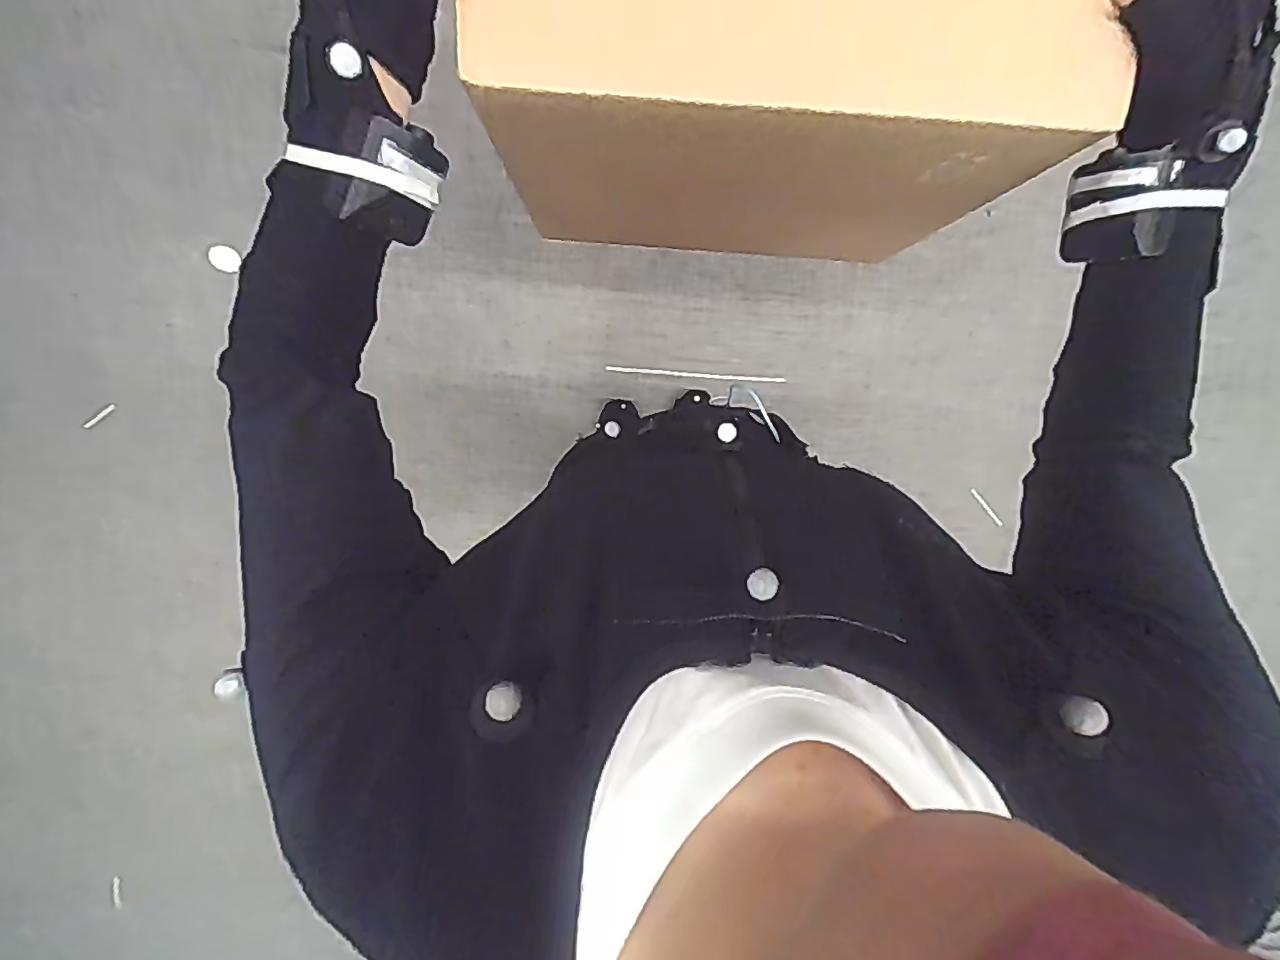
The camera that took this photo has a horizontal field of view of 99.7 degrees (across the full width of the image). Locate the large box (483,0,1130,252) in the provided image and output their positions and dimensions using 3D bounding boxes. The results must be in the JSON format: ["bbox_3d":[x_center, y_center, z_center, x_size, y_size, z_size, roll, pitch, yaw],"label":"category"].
[{"bbox_3d":[0.100,-0.404,0.464,0.408,0.320,0.320,2,98,-3],"label":"large box"}]
